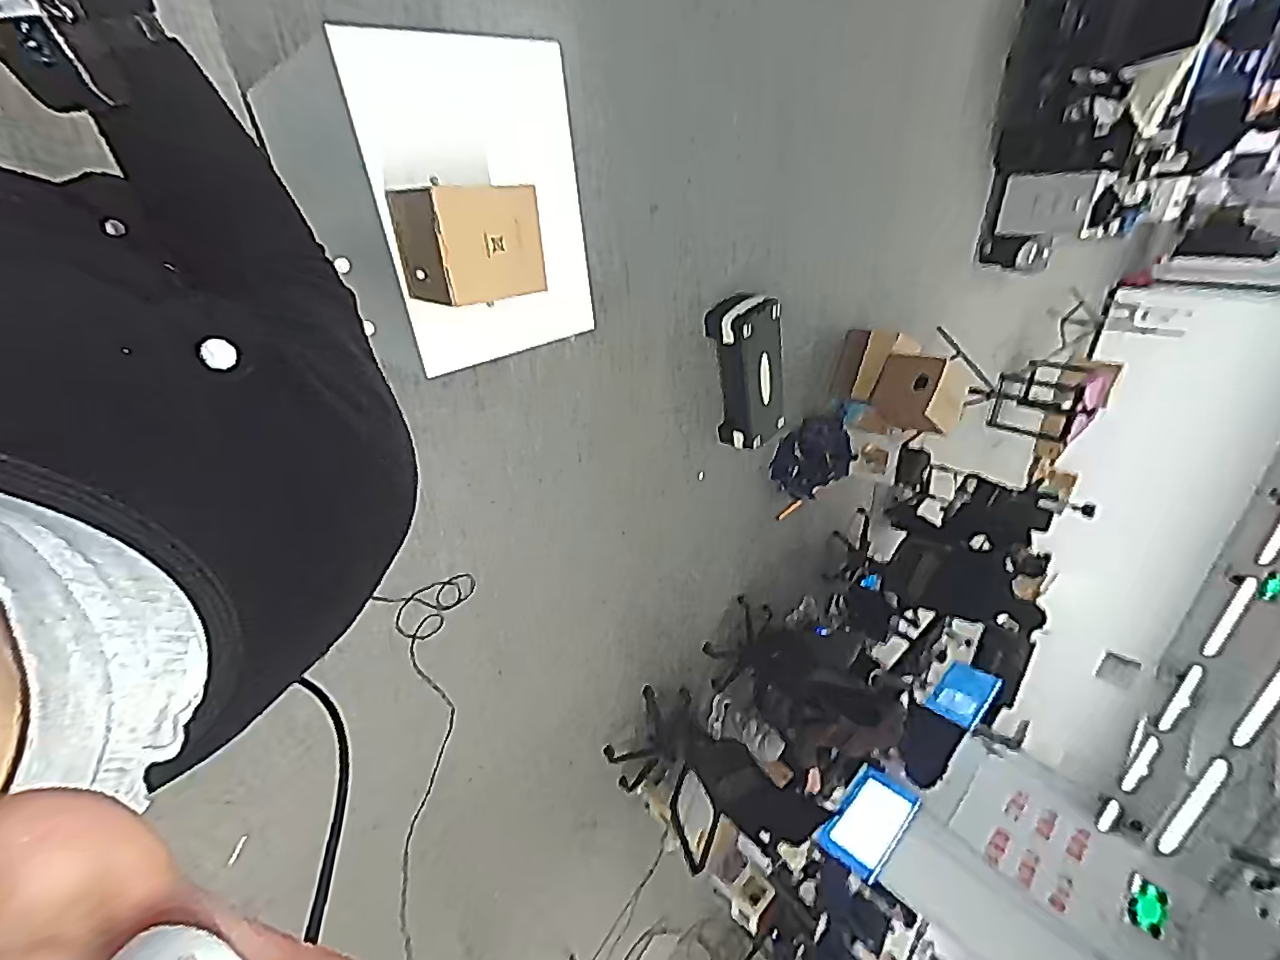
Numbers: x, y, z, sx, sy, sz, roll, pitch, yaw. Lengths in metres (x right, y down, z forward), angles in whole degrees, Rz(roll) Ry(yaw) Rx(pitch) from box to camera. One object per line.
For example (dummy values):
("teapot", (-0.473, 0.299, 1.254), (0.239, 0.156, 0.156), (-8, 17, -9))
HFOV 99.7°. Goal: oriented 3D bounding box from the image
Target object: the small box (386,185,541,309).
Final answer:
("small box", (-0.290, -0.383, 0.882), (0.179, 0.176, 0.168), (-28, 128, -38))
